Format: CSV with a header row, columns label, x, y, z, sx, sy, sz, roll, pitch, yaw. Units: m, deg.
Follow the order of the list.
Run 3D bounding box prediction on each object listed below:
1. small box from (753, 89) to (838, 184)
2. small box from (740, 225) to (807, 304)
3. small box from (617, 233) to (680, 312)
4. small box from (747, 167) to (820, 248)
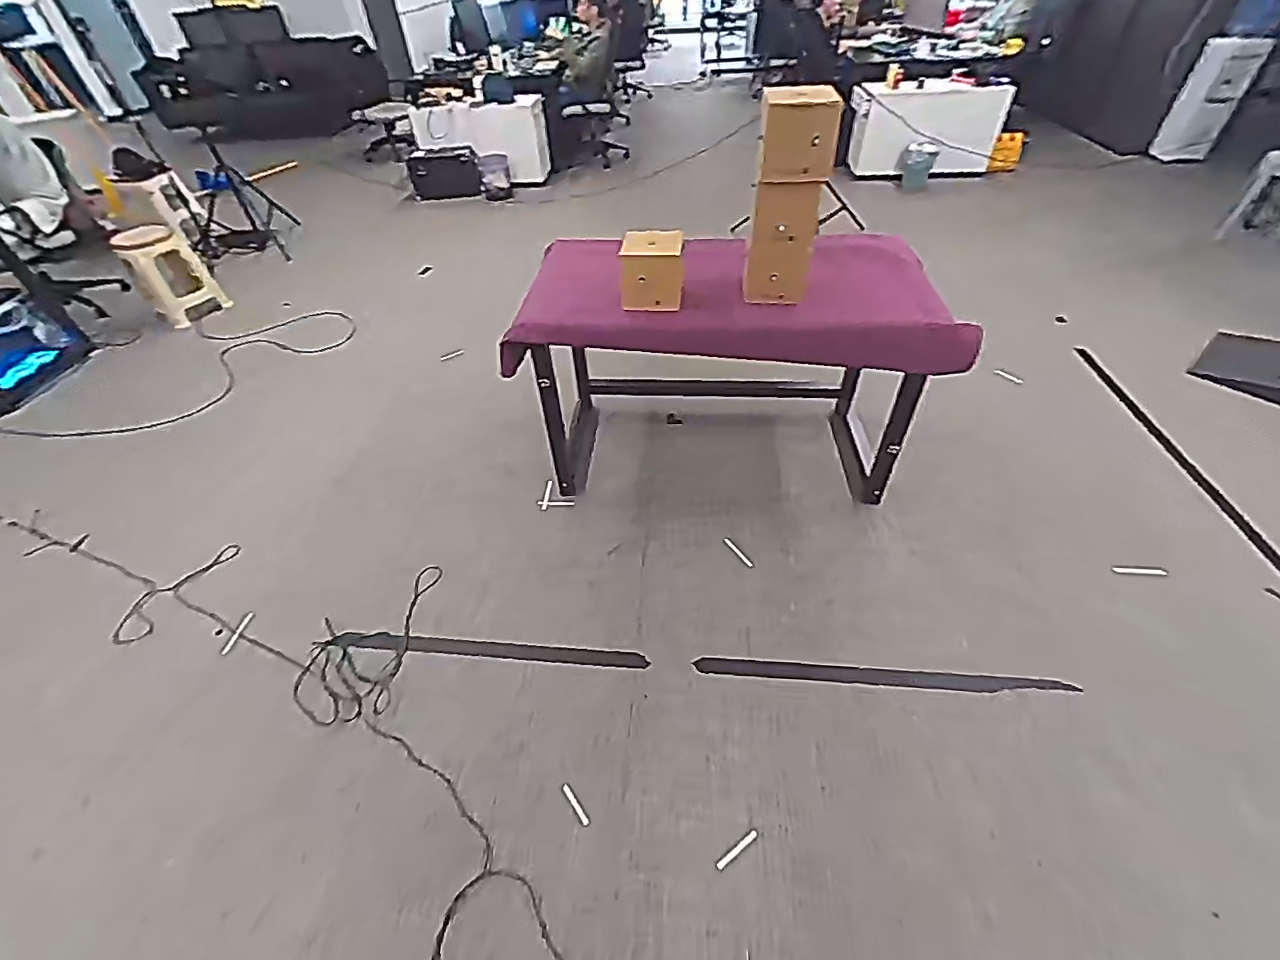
label,x,y,z,sx,sy,sz,roll,pitch,yaw
small box,0.374,-0.844,1.332,0.168,0.176,0.179,2,45,4
small box,0.384,-0.626,1.576,0.168,0.176,0.179,4,45,7
small box,0.030,-0.601,1.573,0.168,0.176,0.179,2,44,5
small box,0.381,-0.745,1.462,0.168,0.176,0.179,3,46,7
